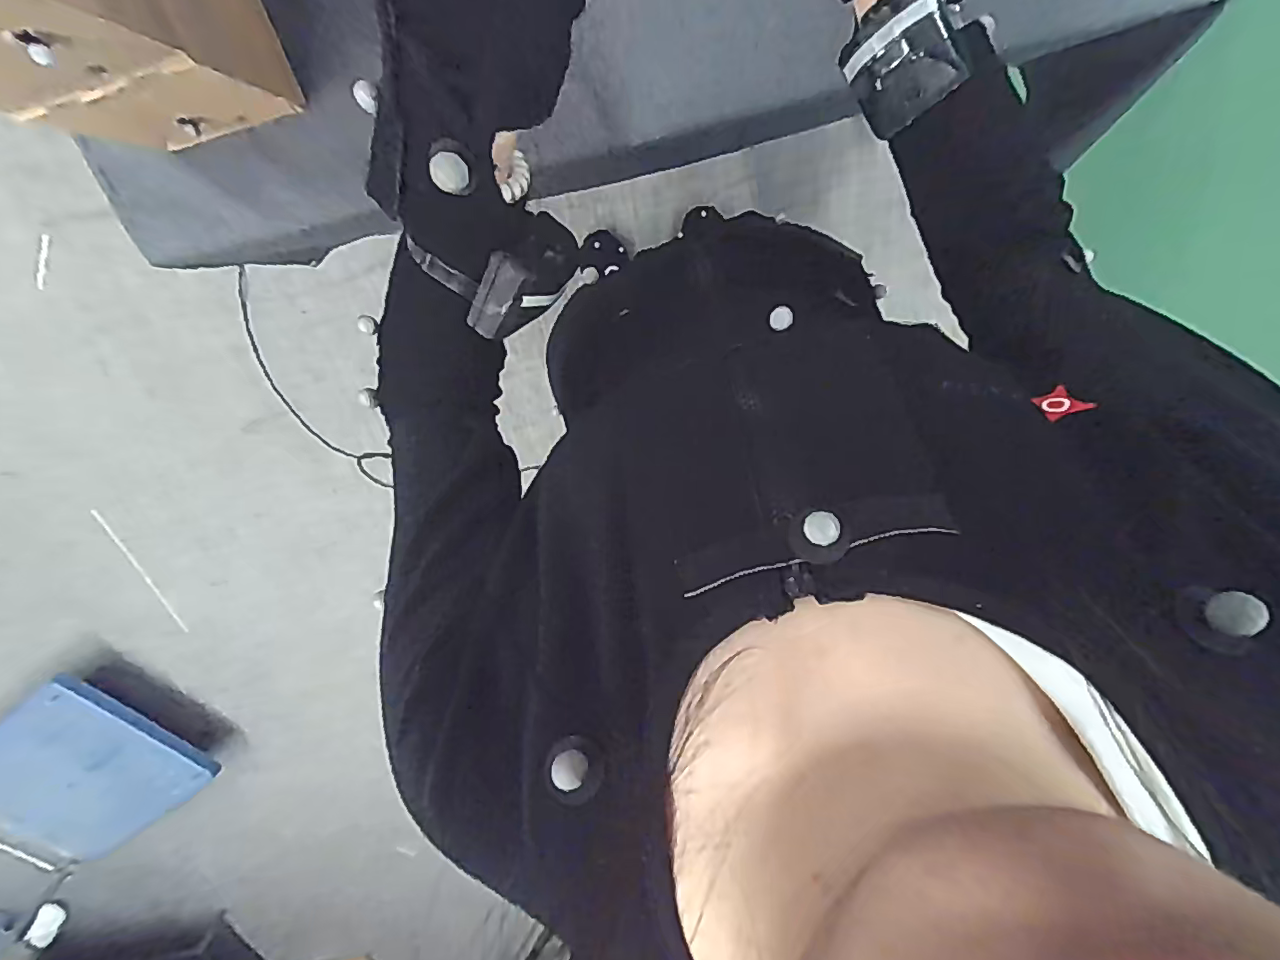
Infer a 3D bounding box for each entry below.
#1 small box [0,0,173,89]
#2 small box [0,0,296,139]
[{"bbox_3d":[-0.446,-0.358,0.317,0.168,0.176,0.179,-13,115,4],"label":"small box"},{"bbox_3d":[-0.451,-0.424,0.467,0.168,0.176,0.179,-14,115,5],"label":"small box"}]
